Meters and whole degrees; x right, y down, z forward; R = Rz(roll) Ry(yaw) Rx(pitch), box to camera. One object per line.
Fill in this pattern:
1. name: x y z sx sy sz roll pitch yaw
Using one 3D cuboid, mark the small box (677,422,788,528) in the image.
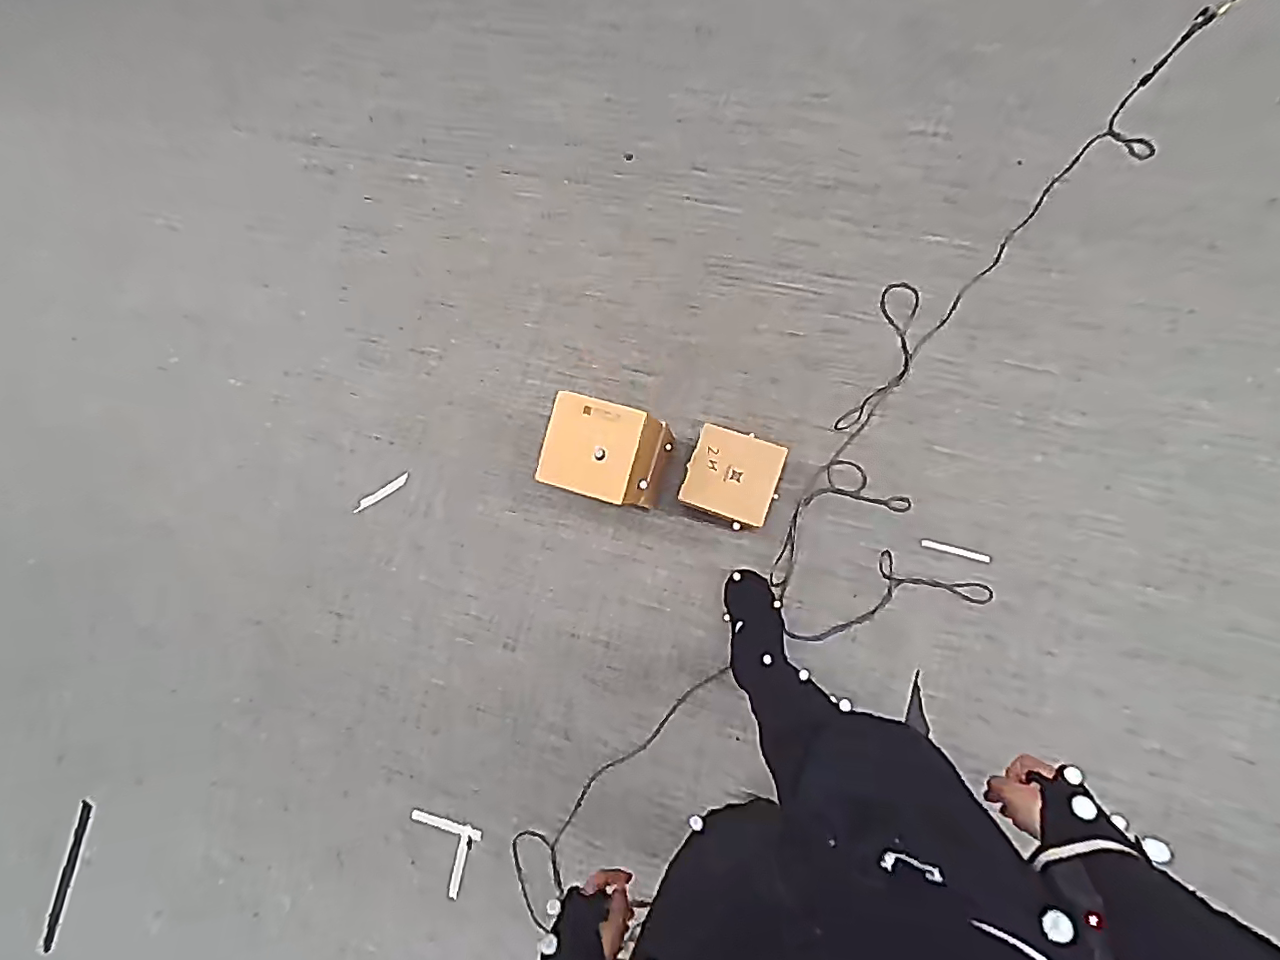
1. small box: 0.192 -0.005 1.134 0.179 0.176 0.168 19 86 11
